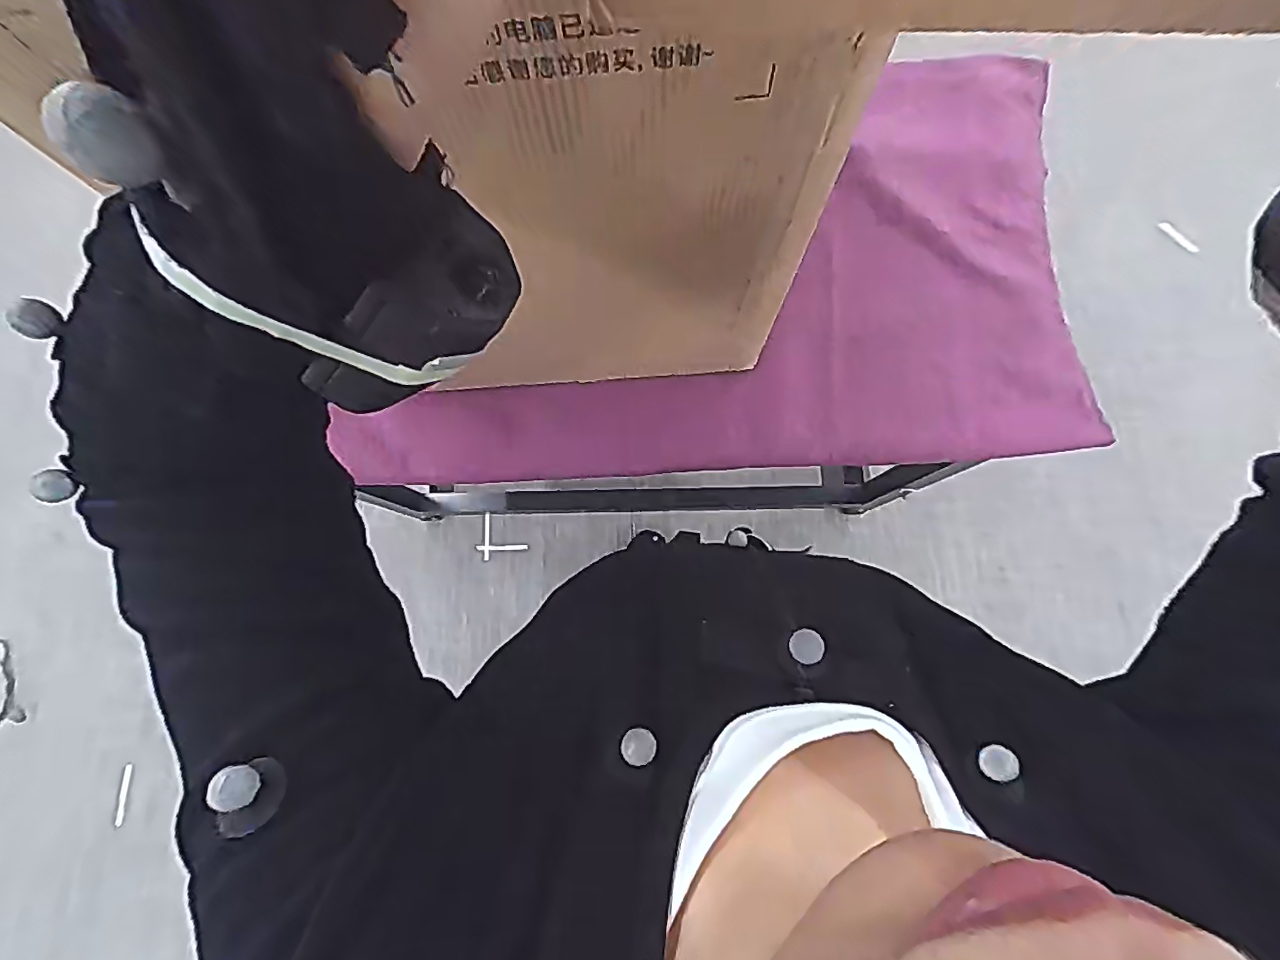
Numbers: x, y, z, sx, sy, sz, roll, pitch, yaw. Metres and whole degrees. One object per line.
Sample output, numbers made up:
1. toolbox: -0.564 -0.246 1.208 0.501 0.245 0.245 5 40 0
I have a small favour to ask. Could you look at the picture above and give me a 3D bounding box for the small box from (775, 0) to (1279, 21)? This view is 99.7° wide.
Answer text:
1. small box: 0.080 -0.195 0.056 0.179 0.176 0.168 3 79 3
